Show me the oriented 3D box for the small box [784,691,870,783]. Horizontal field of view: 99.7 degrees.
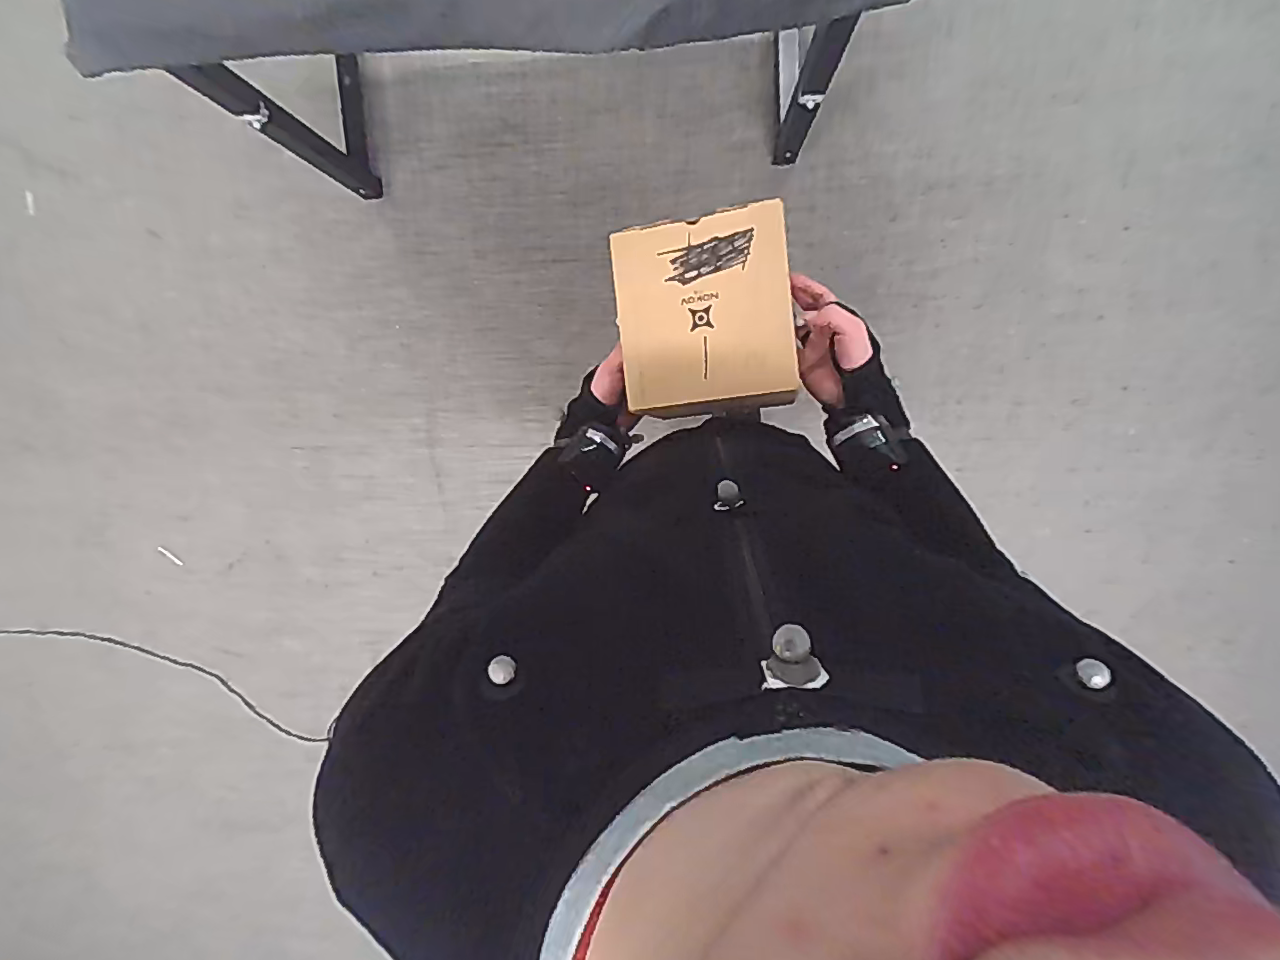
[{"bbox_3d":[0.536,0.738,1.571,0.179,0.176,0.168,11,97,3],"label":"small box"}]
